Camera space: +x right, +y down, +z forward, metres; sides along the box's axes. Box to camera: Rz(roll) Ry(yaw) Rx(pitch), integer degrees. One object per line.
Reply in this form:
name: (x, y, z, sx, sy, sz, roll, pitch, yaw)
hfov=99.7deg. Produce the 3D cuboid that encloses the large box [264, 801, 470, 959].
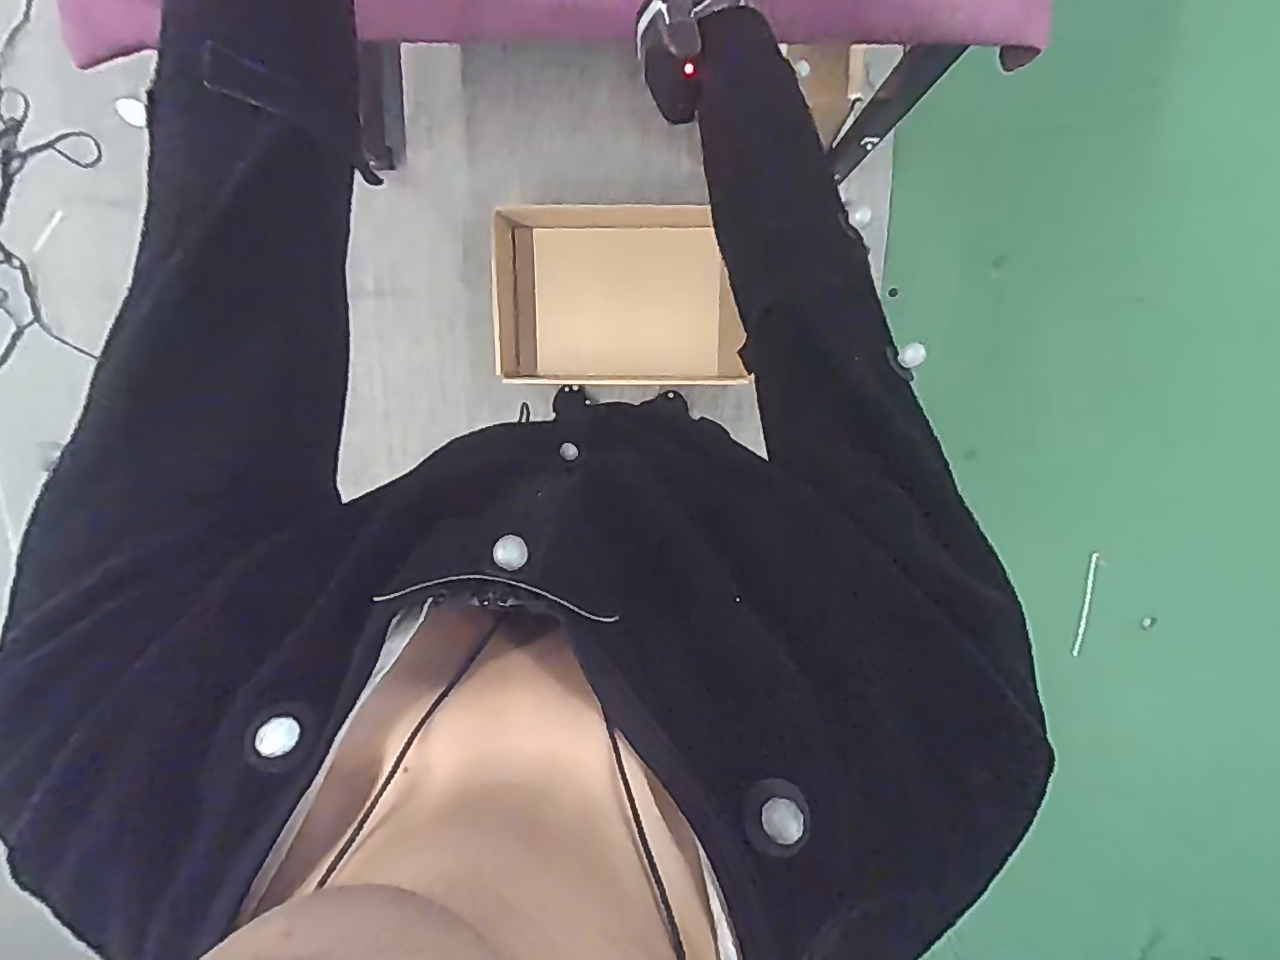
large box: (-0.805, 1.288, 1.646, 0.408, 0.320, 0.320, 31, 100, -2)
